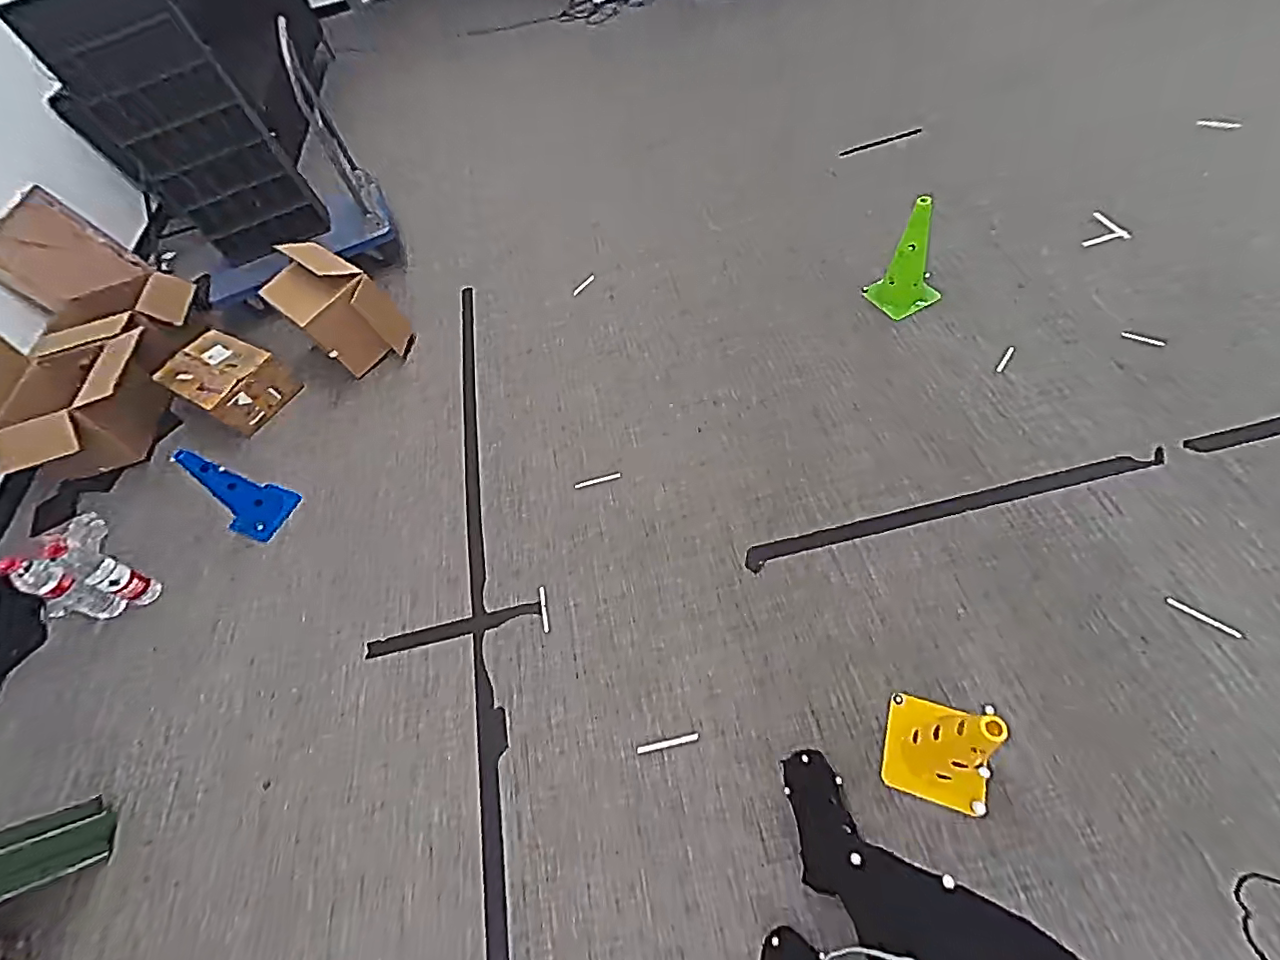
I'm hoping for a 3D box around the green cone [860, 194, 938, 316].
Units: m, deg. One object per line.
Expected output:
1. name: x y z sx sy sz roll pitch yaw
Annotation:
1. green cone: 0.901 -0.767 1.804 0.202 0.368 0.200 -28 56 -8
